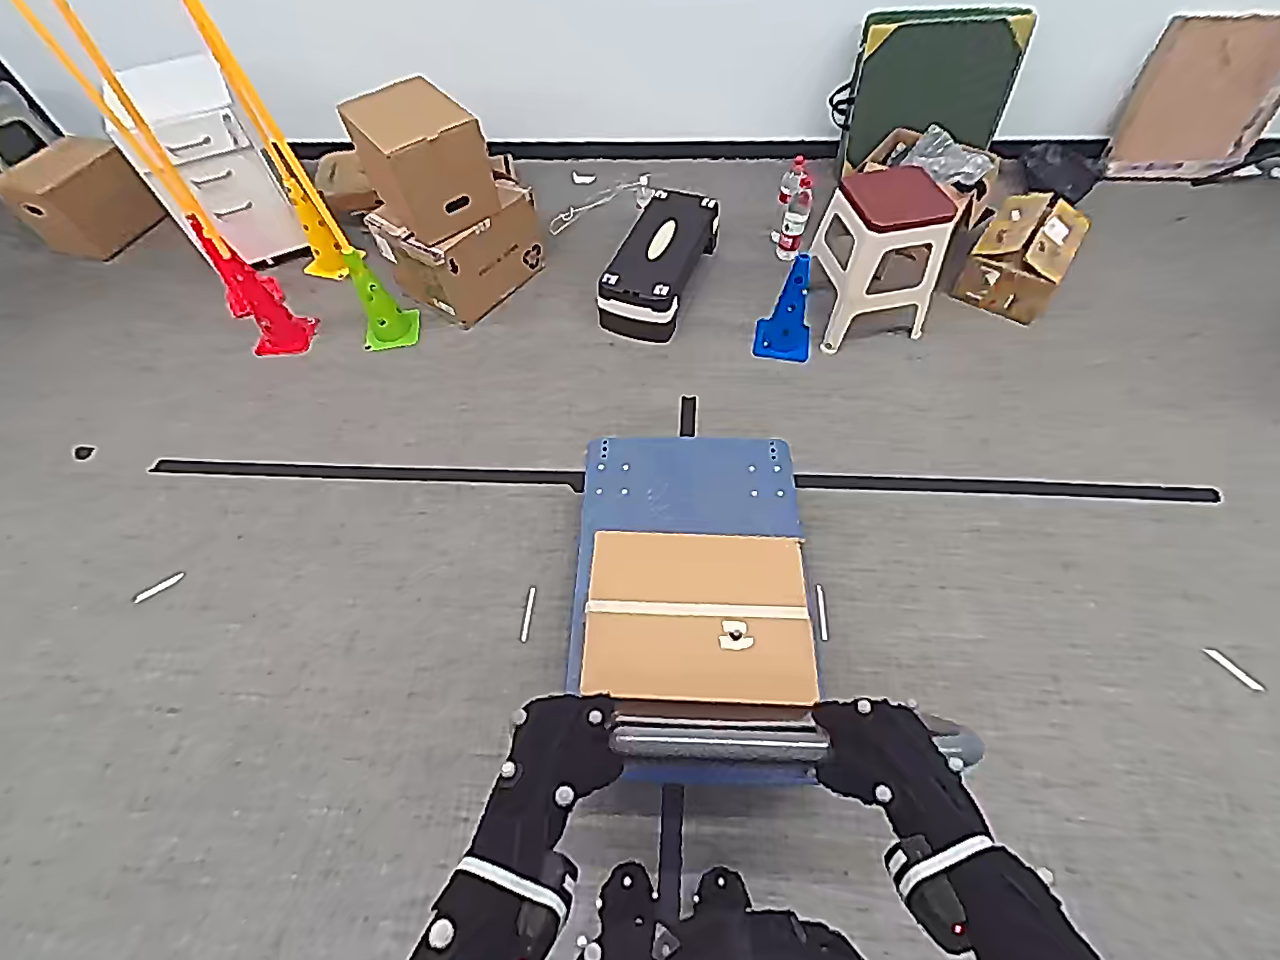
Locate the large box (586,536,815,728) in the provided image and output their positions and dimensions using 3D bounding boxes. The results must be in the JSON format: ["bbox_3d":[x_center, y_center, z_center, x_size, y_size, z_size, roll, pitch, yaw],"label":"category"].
[{"bbox_3d":[0.105,0.327,1.131,0.408,0.320,0.320,2,58,1],"label":"large box"}]
